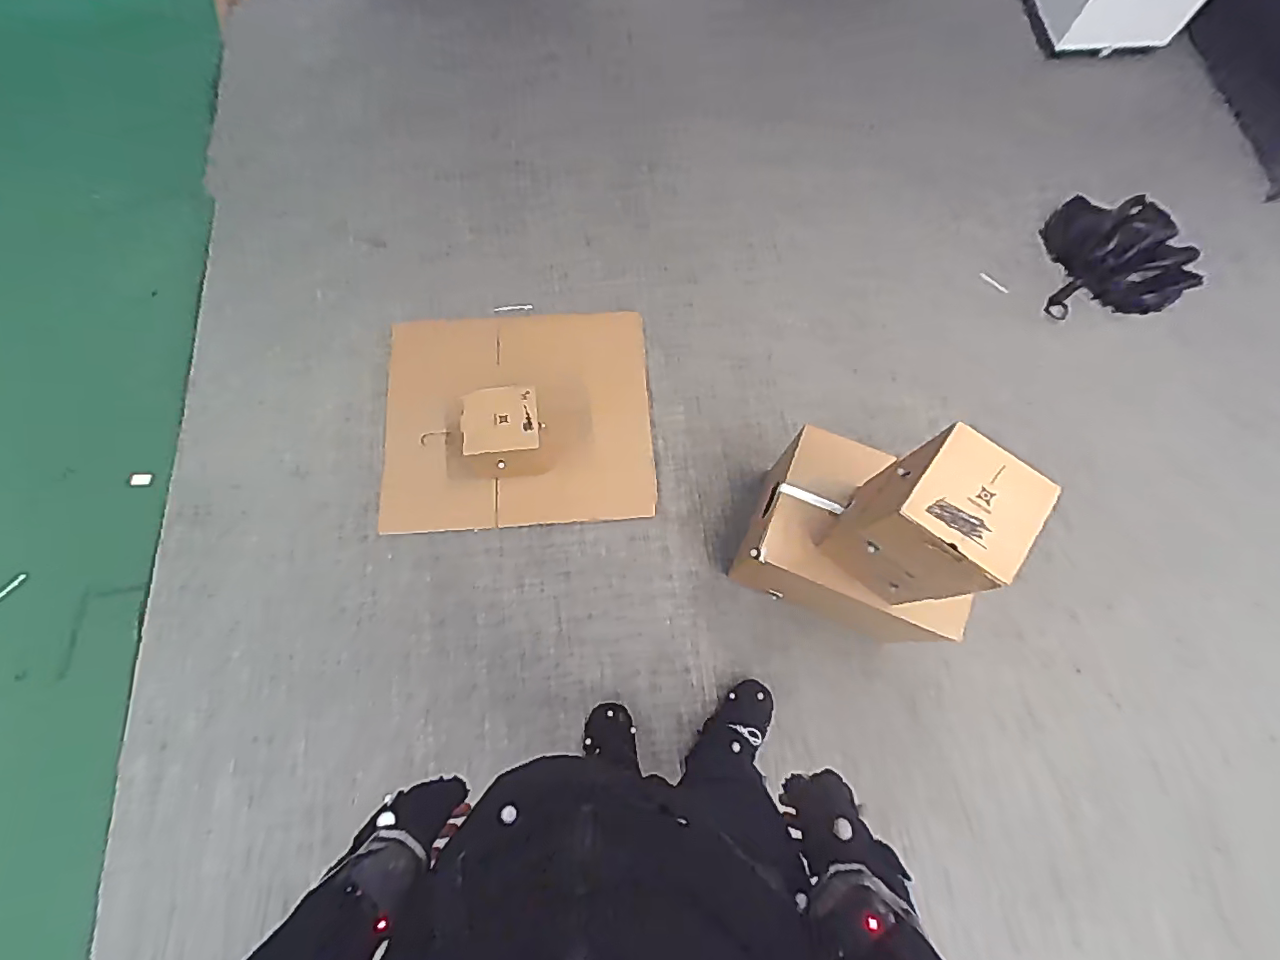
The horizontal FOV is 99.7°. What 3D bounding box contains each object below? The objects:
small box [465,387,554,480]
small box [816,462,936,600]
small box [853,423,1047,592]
[{"bbox_3d":[-0.320,-0.109,1.341,0.179,0.176,0.168,-9,70,-2],"label":"small box"},{"bbox_3d":[0.453,0.100,0.977,0.179,0.176,0.168,37,74,11],"label":"small box"},{"bbox_3d":[0.452,0.052,0.820,0.168,0.176,0.179,34,75,9],"label":"small box"}]
